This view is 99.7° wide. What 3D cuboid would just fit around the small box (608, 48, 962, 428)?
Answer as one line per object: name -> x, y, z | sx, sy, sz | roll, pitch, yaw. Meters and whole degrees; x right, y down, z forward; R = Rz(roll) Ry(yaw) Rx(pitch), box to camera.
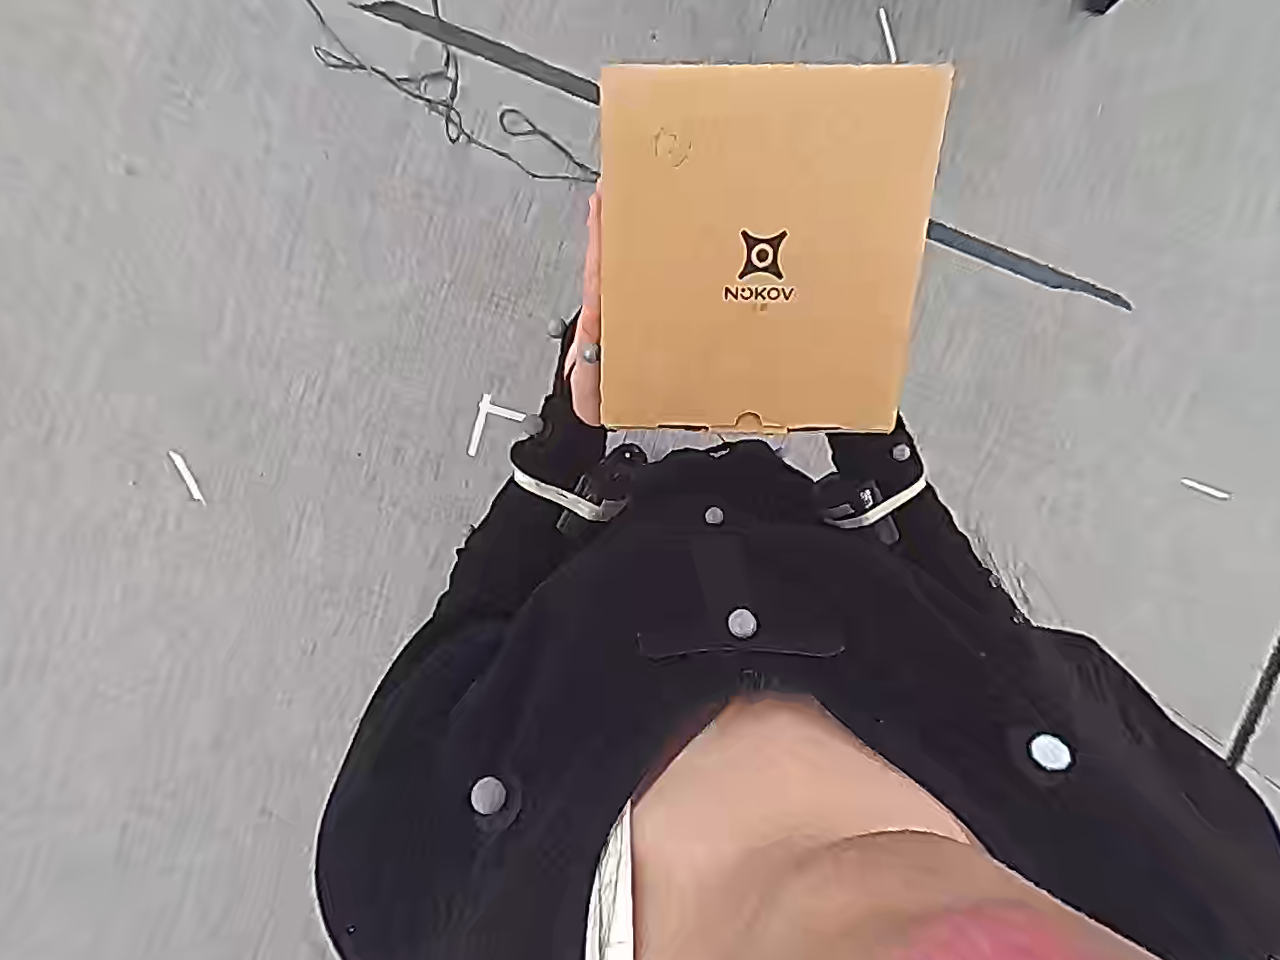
small box -> 0.066, -0.137, 0.347 | 0.168, 0.176, 0.179 | 1, 109, 1
